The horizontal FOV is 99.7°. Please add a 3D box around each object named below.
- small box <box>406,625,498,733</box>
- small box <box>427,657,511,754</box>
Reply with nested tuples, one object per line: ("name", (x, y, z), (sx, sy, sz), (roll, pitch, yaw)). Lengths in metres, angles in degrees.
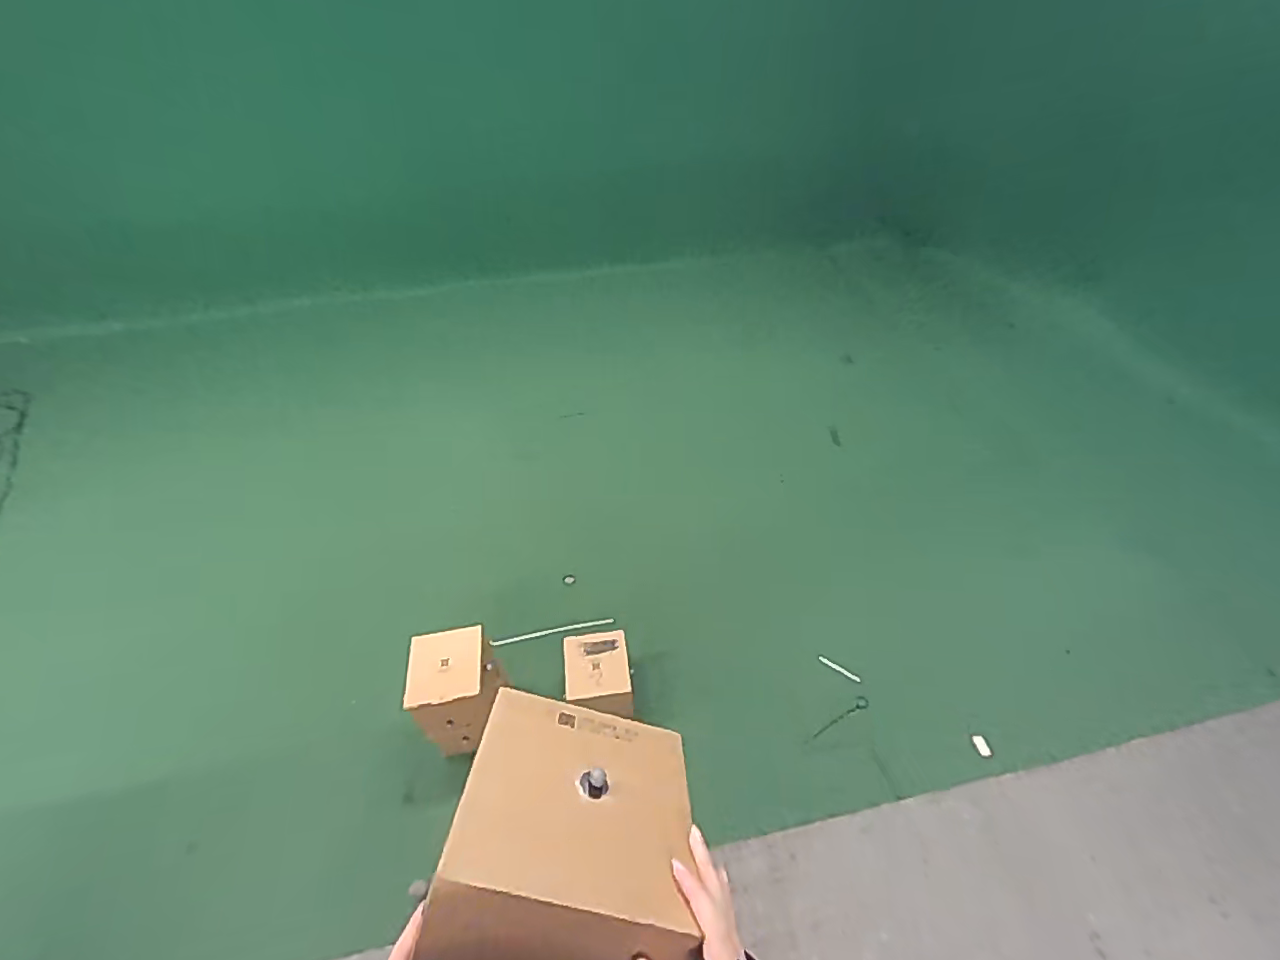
("small box", (-0.441, 0.477, 1.296), (0.168, 0.176, 0.179), (-9, 46, -6))
("small box", (-0.438, 0.590, 1.413), (0.179, 0.176, 0.168), (-10, 45, -6))
